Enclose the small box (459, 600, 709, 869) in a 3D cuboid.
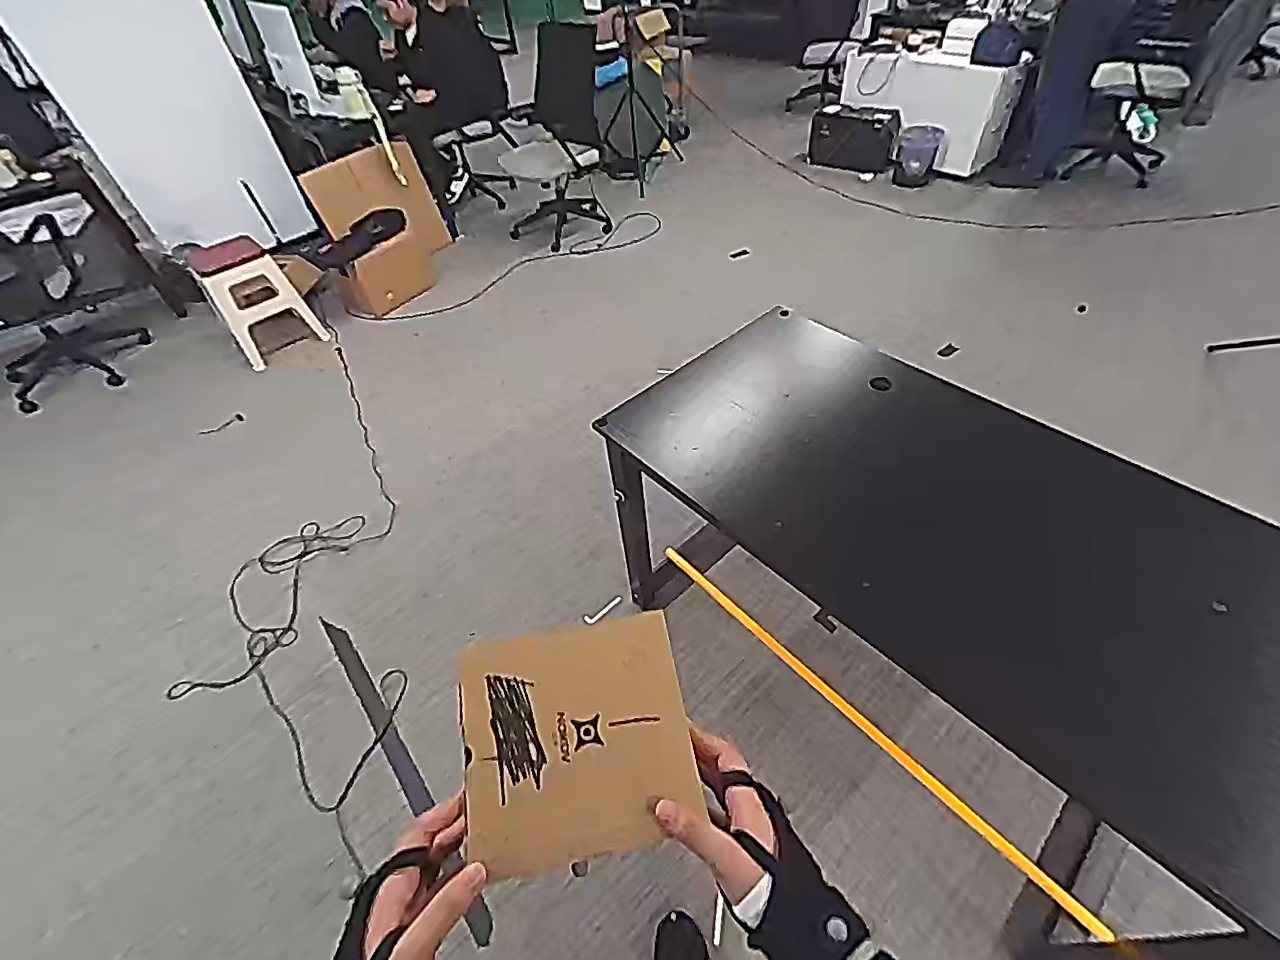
[{"bbox_3d":[-0.052,0.222,0.484,0.179,0.176,0.168,-8,63,-8],"label":"small box"}]
